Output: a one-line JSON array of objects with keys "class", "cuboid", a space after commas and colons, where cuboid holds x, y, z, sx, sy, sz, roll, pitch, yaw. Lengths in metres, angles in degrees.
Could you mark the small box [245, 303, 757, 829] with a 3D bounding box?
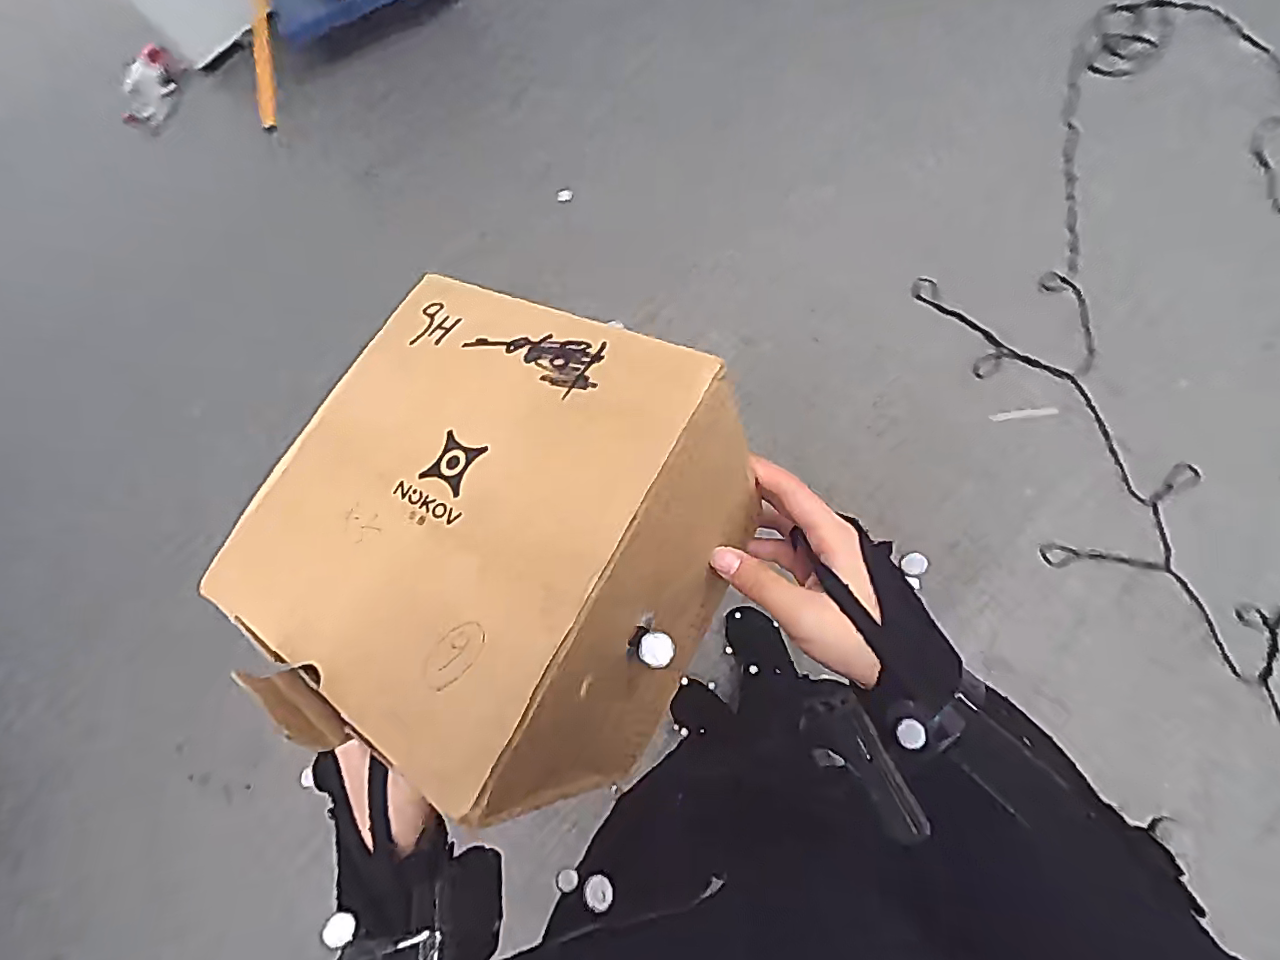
[{"class": "small box", "cuboid": [-0.047, 0.041, 0.294, 0.168, 0.176, 0.179, 24, 76, 25]}]
